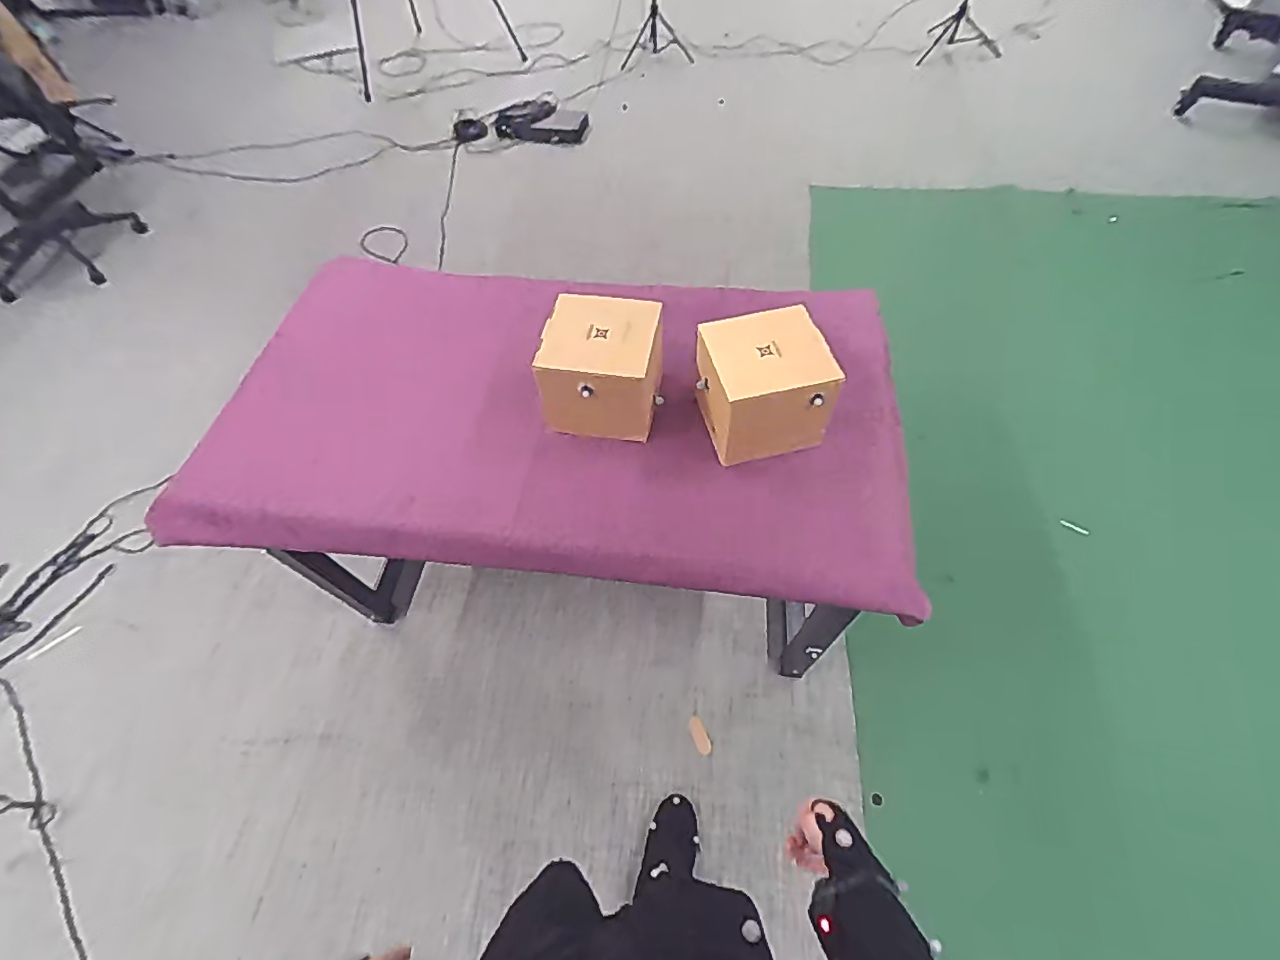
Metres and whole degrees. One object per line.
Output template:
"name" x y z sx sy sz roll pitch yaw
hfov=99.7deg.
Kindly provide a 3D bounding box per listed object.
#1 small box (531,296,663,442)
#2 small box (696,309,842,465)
"small box" -0.061 -0.181 0.905 0.179 0.176 0.168 9 59 7
"small box" 0.193 -0.144 0.871 0.179 0.176 0.168 -12 57 -5
